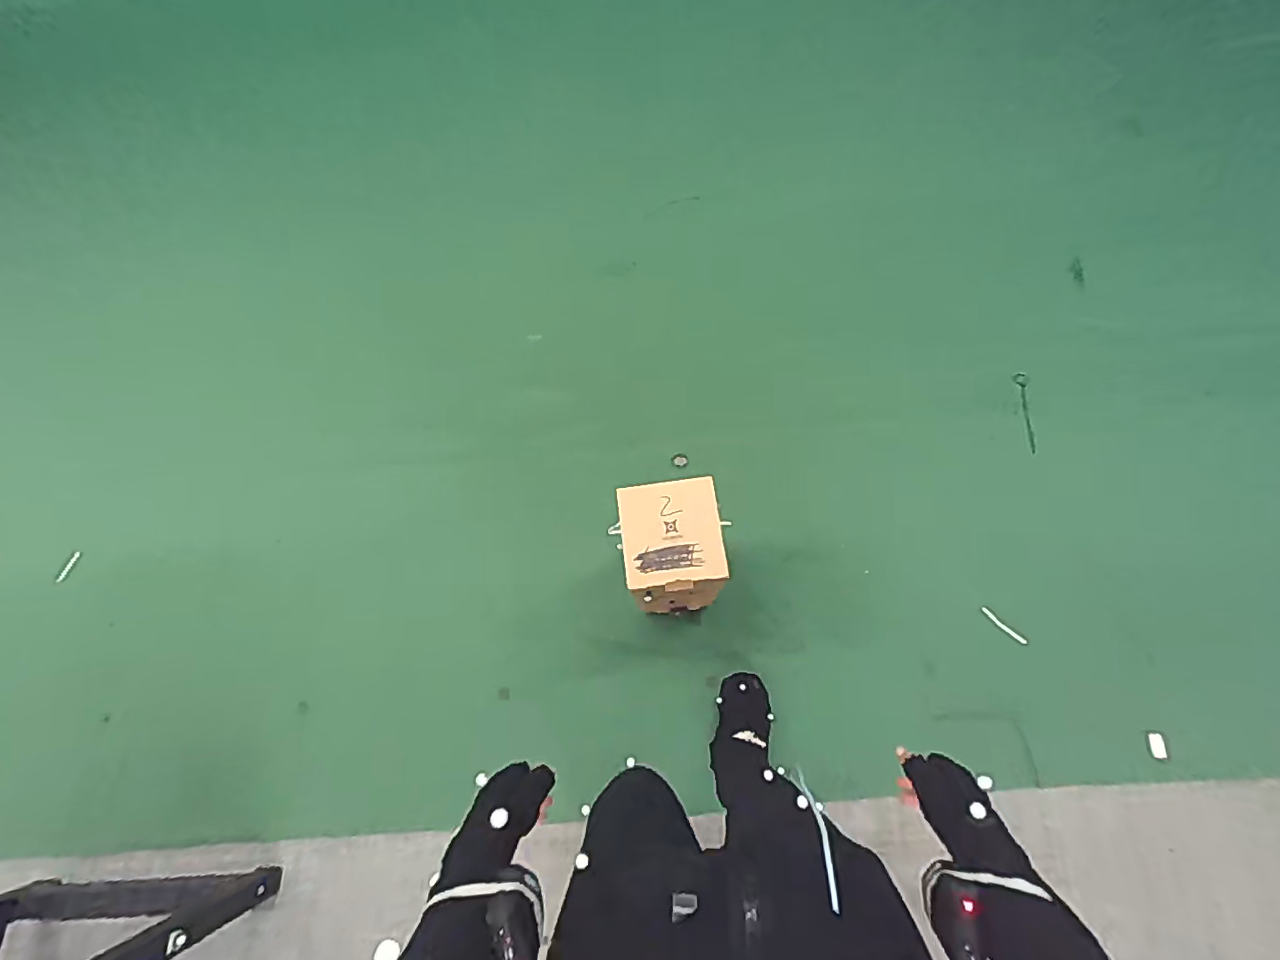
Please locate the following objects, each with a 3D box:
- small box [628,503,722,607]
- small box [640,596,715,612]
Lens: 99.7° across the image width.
[{"bbox_3d":[0.069,0.162,1.126,0.168,0.176,0.179,-8,73,1],"label":"small box"},{"bbox_3d":[0.080,0.212,1.280,0.168,0.176,0.179,-6,72,2],"label":"small box"}]
